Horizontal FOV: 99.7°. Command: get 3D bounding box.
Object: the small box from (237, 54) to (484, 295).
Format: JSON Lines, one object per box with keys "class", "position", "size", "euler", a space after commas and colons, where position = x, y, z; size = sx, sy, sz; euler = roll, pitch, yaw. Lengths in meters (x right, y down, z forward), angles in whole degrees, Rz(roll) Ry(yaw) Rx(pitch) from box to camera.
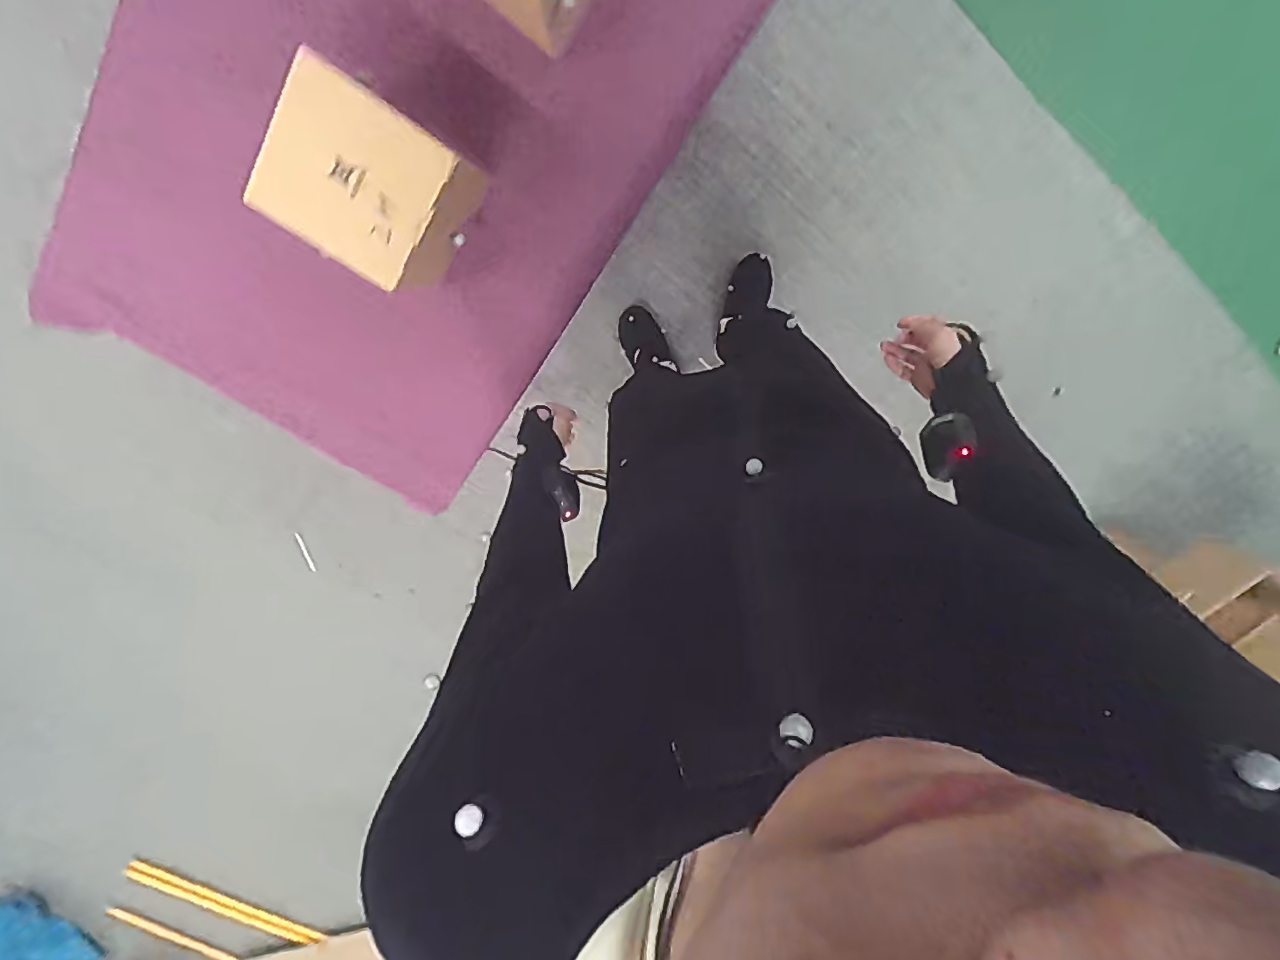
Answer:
{"class": "small box", "position": [-0.315, -0.340, 0.643], "size": [0.179, 0.176, 0.168], "euler": [31, 107, -13]}
